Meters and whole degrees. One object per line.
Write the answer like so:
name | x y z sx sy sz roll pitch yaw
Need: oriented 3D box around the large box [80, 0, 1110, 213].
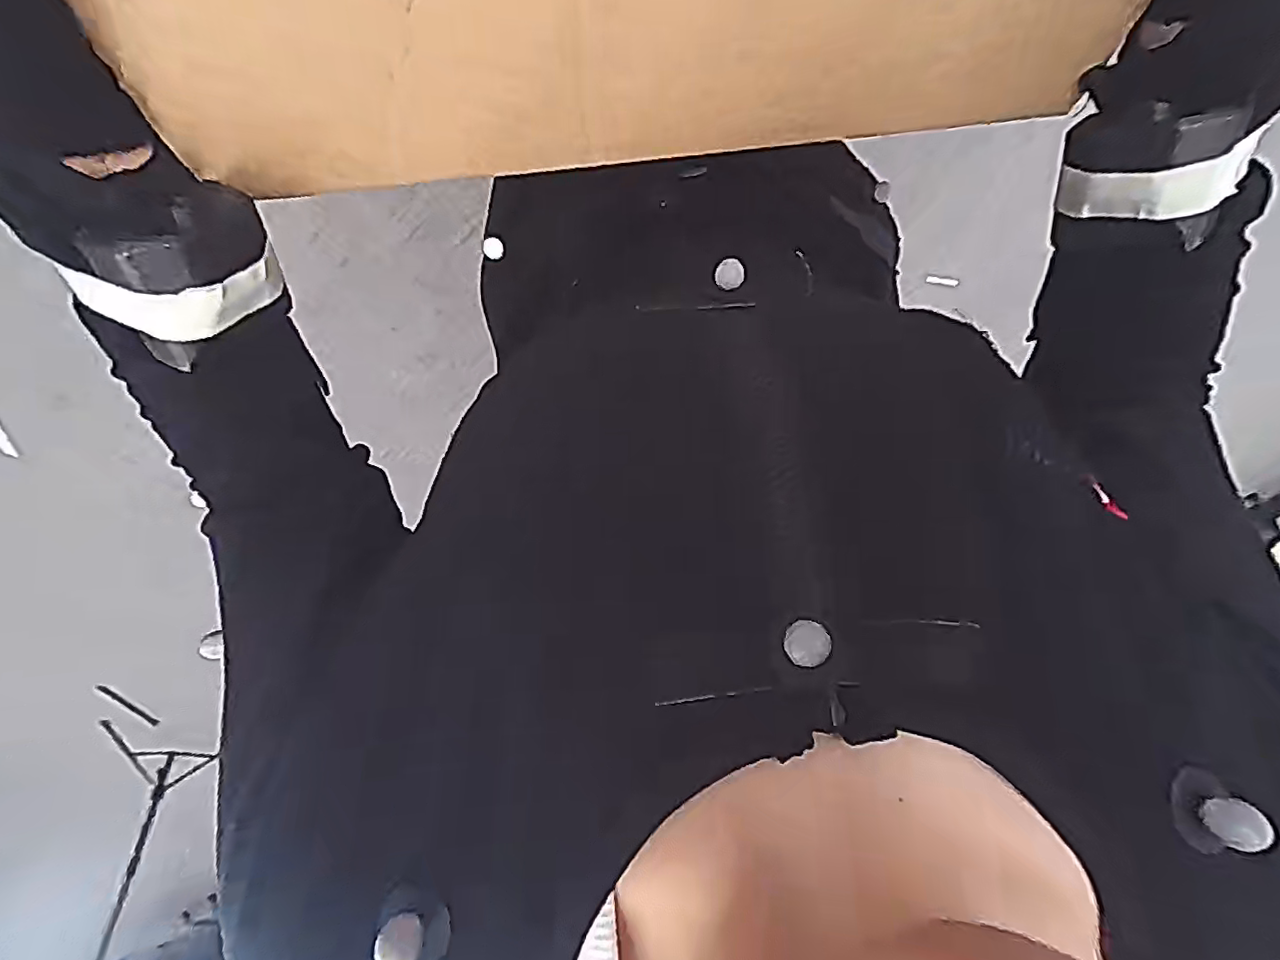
large box | -0.014 -0.353 0.183 0.408 0.320 0.320 -9 157 -4
